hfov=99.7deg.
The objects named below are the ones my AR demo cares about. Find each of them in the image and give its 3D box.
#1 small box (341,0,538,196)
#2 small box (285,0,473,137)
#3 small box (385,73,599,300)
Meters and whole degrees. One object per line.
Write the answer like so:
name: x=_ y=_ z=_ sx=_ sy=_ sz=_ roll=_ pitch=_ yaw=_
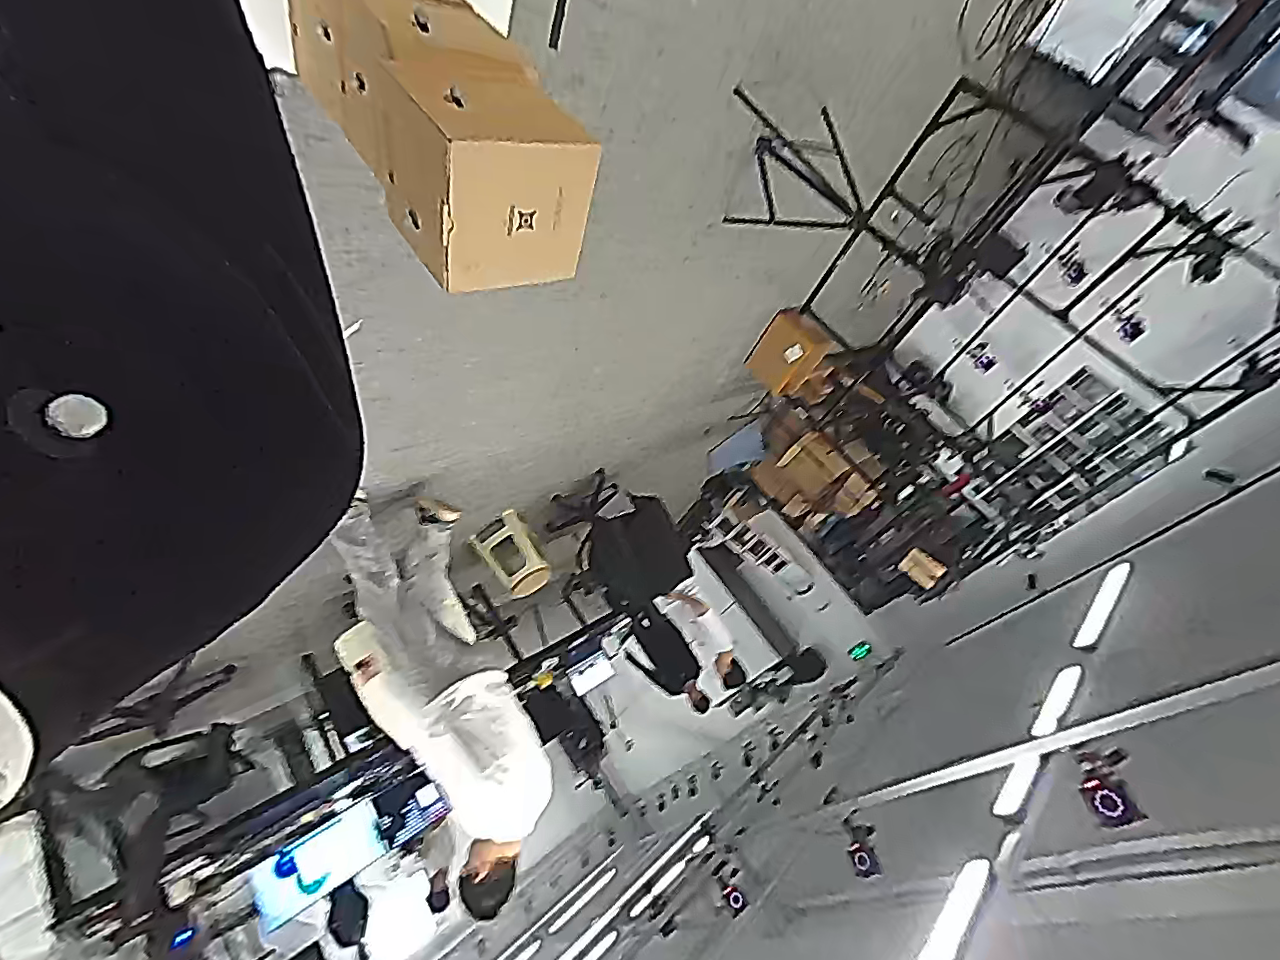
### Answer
small box: x=-0.259 y=-0.469 z=0.681 sx=0.179 sy=0.176 sz=0.168 roll=-21 pitch=153 yaw=-38
small box: x=-0.357 y=-0.589 z=0.739 sx=0.179 sy=0.176 sz=0.168 roll=-22 pitch=153 yaw=-38
small box: x=-0.178 y=-0.338 z=0.625 sx=0.179 sy=0.176 sz=0.168 roll=-24 pitch=155 yaw=-34
